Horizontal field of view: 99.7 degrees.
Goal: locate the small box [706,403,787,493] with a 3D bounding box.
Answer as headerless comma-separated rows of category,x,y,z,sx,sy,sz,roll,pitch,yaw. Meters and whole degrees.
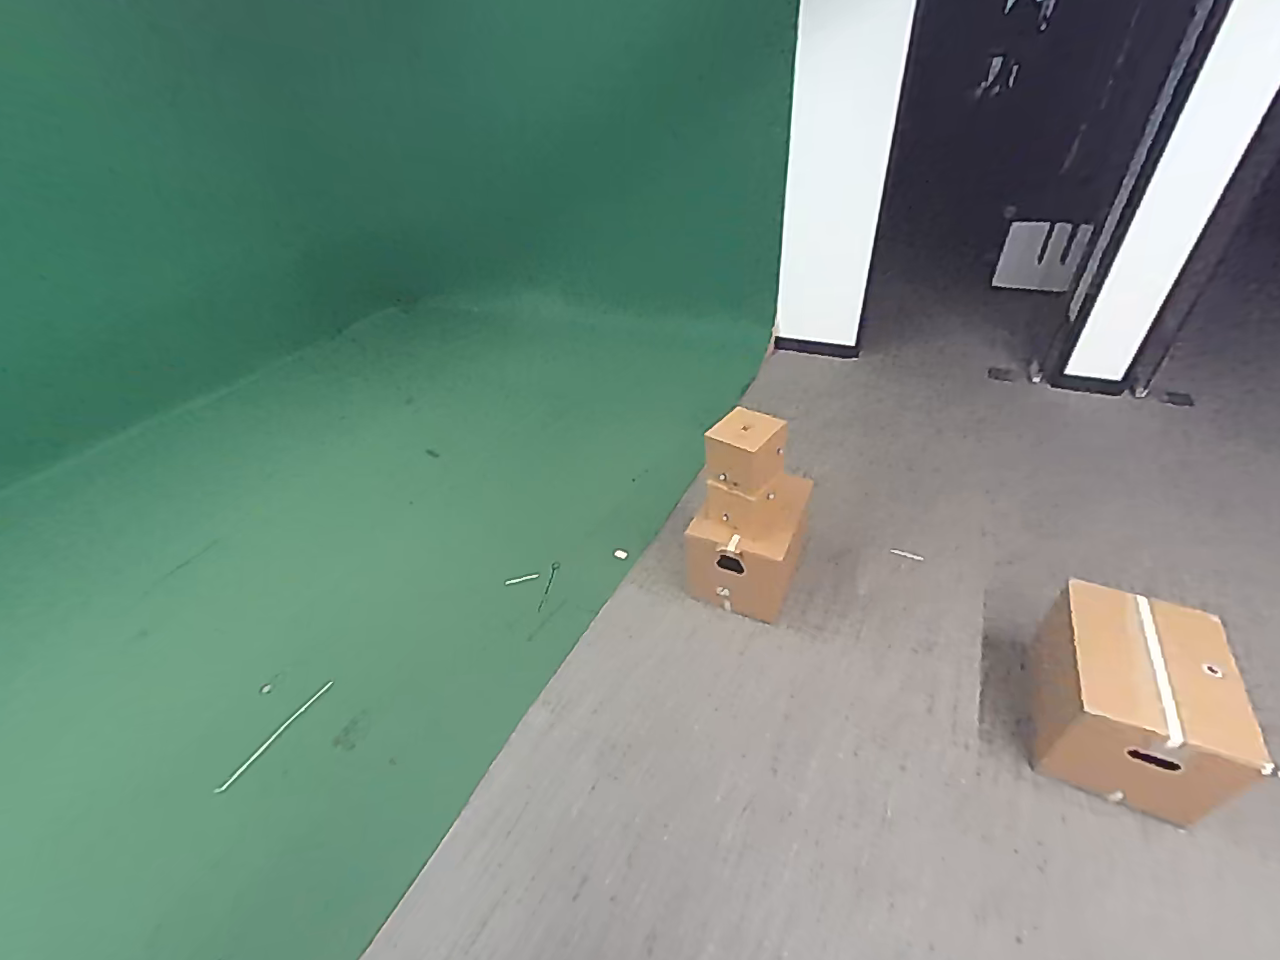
small box,0.308,-0.094,1.579,0.168,0.176,0.179,25,50,34

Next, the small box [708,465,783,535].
small box,0.322,0.037,1.673,0.168,0.176,0.179,23,48,31

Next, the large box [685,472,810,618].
large box,0.372,0.195,1.859,0.320,0.320,0.408,15,43,23
